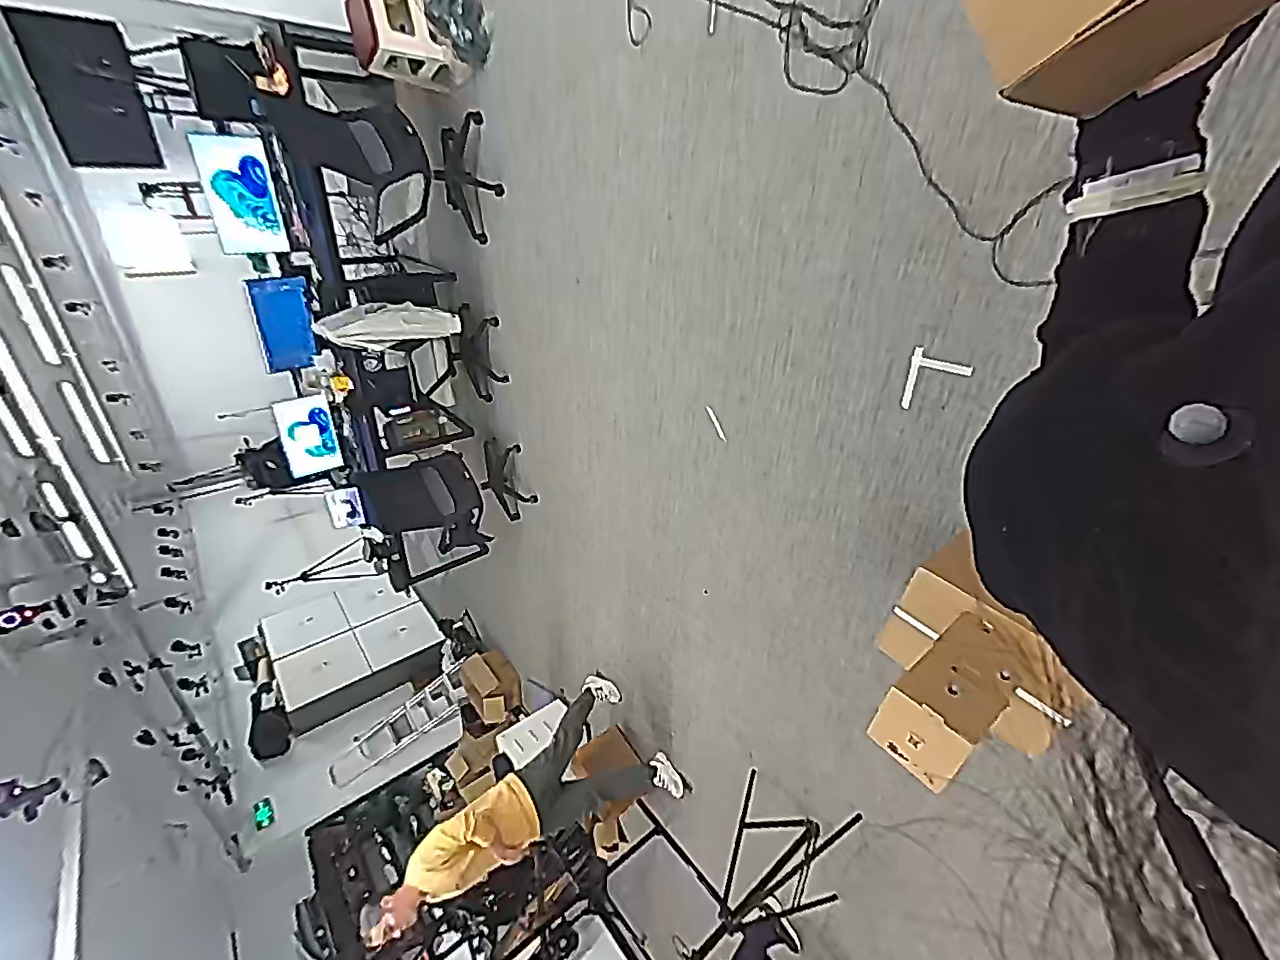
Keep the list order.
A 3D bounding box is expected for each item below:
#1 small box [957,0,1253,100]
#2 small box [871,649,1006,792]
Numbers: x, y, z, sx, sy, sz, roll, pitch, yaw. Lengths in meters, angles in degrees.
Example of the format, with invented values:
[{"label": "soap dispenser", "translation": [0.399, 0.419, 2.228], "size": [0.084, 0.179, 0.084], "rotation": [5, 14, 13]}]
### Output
[{"label": "small box", "translation": [0.241, -0.306, 0.238], "size": [0.168, 0.176, 0.179], "rotation": [-22, 91, 54]}, {"label": "small box", "translation": [0.619, 0.487, 1.119], "size": [0.168, 0.176, 0.179], "rotation": [37, 134, 38]}]
